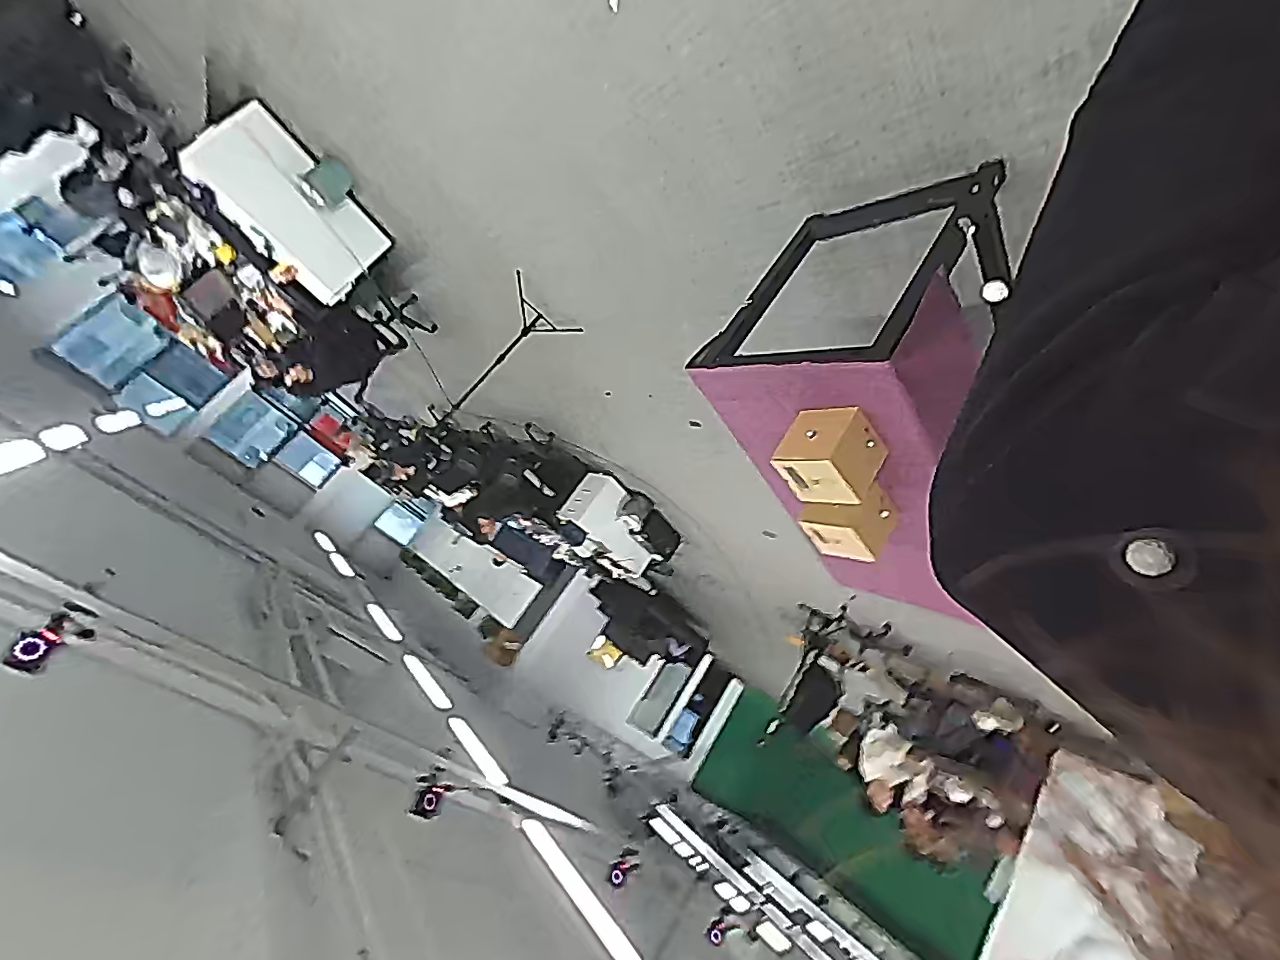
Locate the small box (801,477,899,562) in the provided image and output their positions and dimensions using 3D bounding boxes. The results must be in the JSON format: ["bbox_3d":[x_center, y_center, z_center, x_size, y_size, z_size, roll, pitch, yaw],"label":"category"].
[{"bbox_3d":[0.600,0.106,1.540,0.168,0.176,0.179,45,159,-28],"label":"small box"}]
